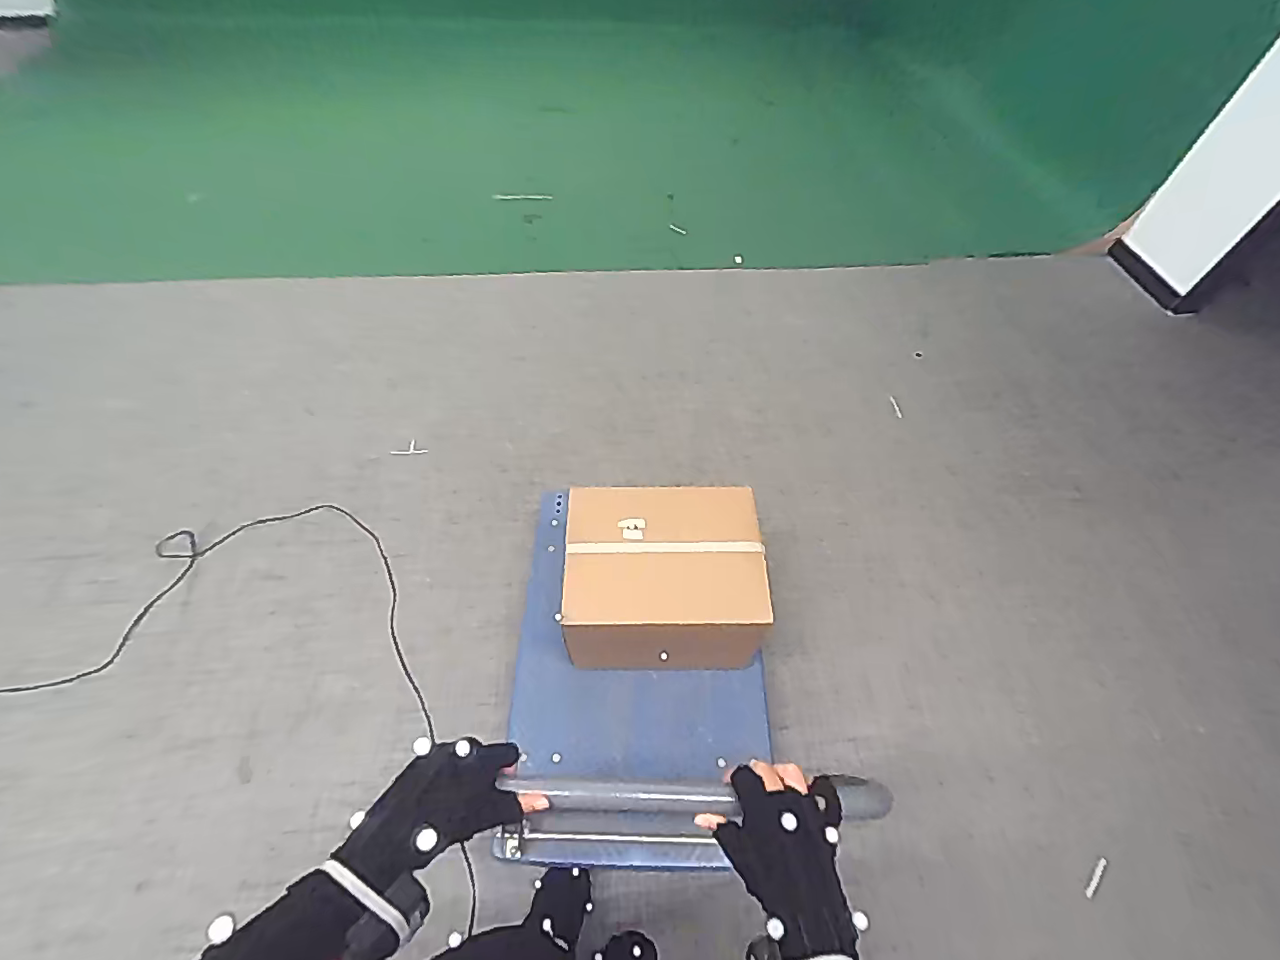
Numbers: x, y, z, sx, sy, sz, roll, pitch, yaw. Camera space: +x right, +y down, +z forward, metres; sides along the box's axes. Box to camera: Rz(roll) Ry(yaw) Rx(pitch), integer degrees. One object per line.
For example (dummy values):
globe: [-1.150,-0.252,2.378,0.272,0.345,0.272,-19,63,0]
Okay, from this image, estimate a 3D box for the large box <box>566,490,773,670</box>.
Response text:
large box: [0.053,0.236,1.232,0.408,0.320,0.320,0,54,-1]
